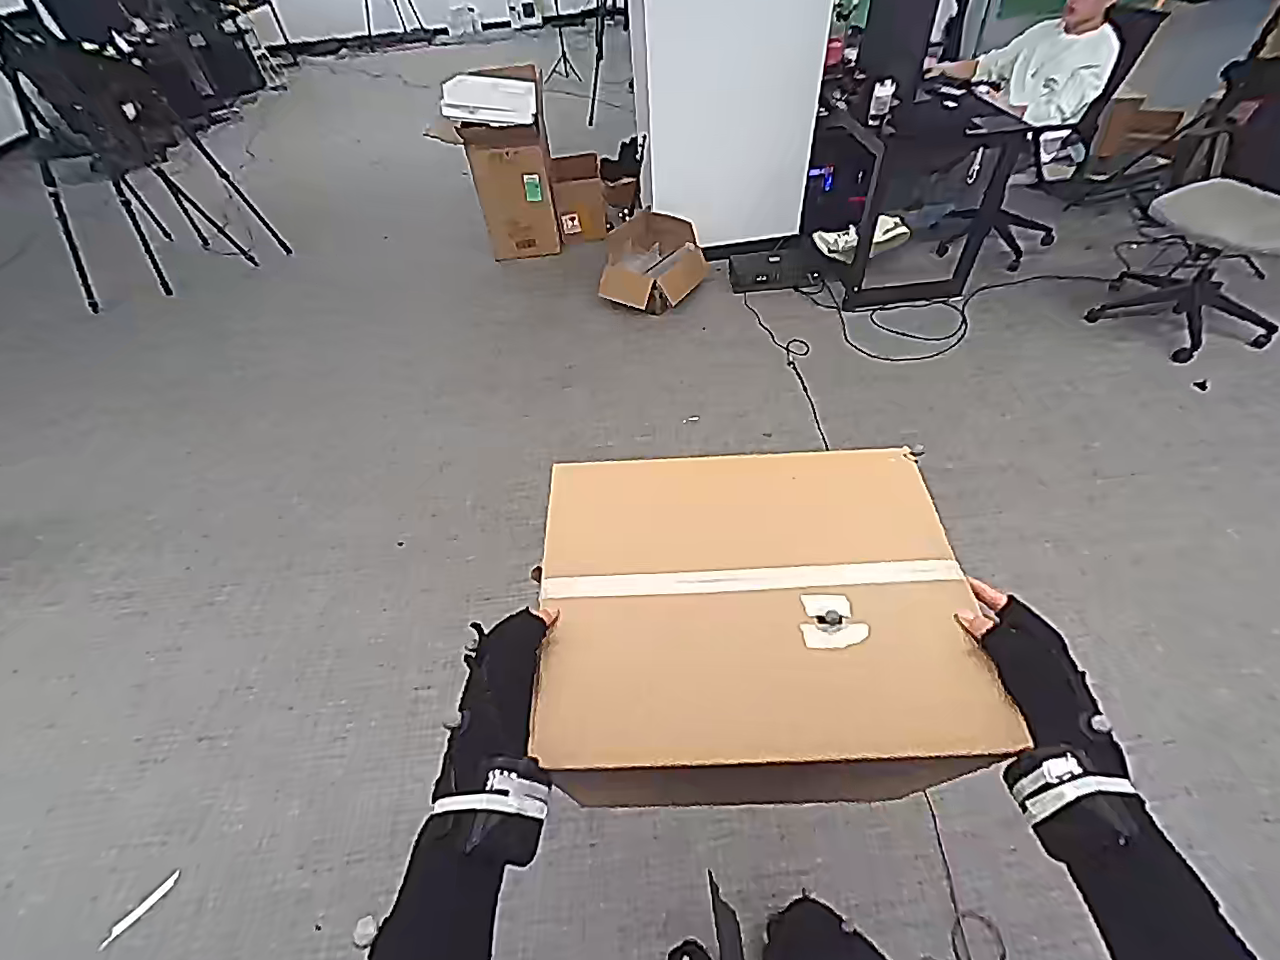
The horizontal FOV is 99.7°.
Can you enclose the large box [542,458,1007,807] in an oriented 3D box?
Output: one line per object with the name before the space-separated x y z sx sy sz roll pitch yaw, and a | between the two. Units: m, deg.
large box | 0.112 0.196 0.662 0.408 0.320 0.320 -3 54 1
